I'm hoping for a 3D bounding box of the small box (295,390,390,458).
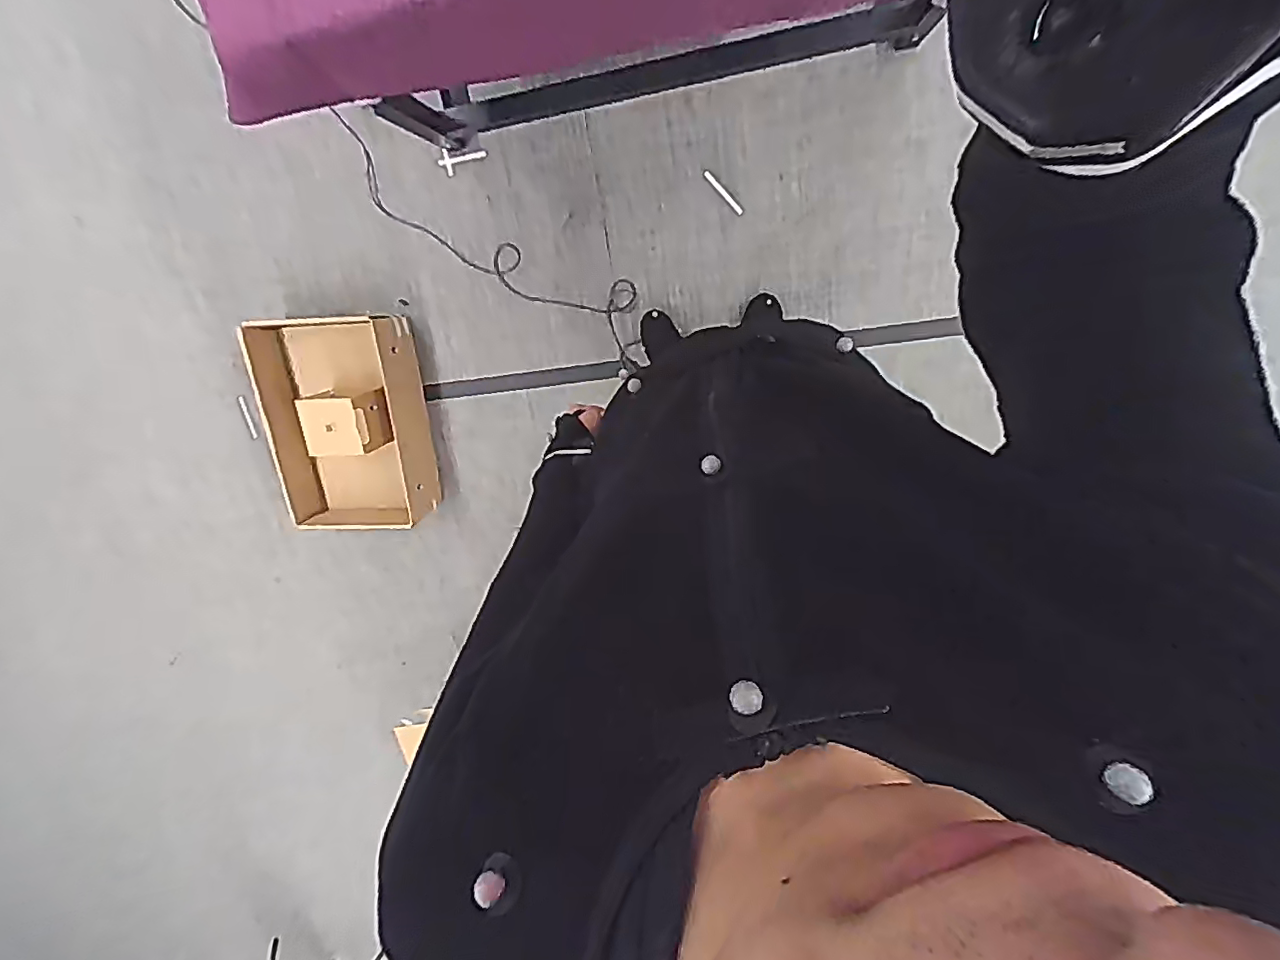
[{"bbox_3d":[-0.858,-0.168,1.584,0.179,0.176,0.168,-1,109,7],"label":"small box"}]
